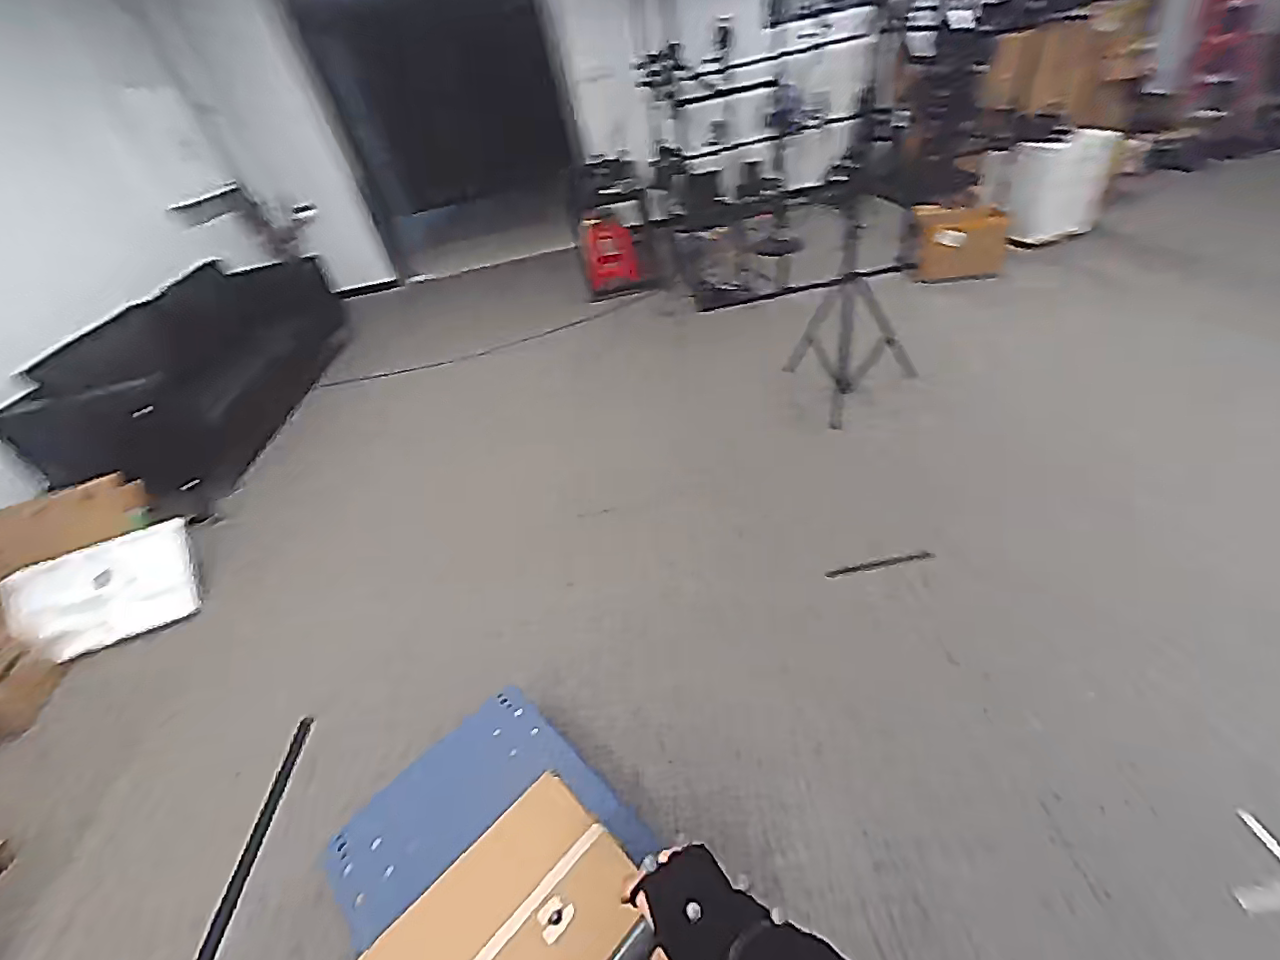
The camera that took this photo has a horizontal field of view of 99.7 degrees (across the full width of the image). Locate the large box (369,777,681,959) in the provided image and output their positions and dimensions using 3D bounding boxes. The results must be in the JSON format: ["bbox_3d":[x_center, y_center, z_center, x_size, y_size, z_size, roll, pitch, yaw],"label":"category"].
[{"bbox_3d":[-0.185,0.846,0.943,0.320,0.320,0.408,26,52,39],"label":"large box"}]
